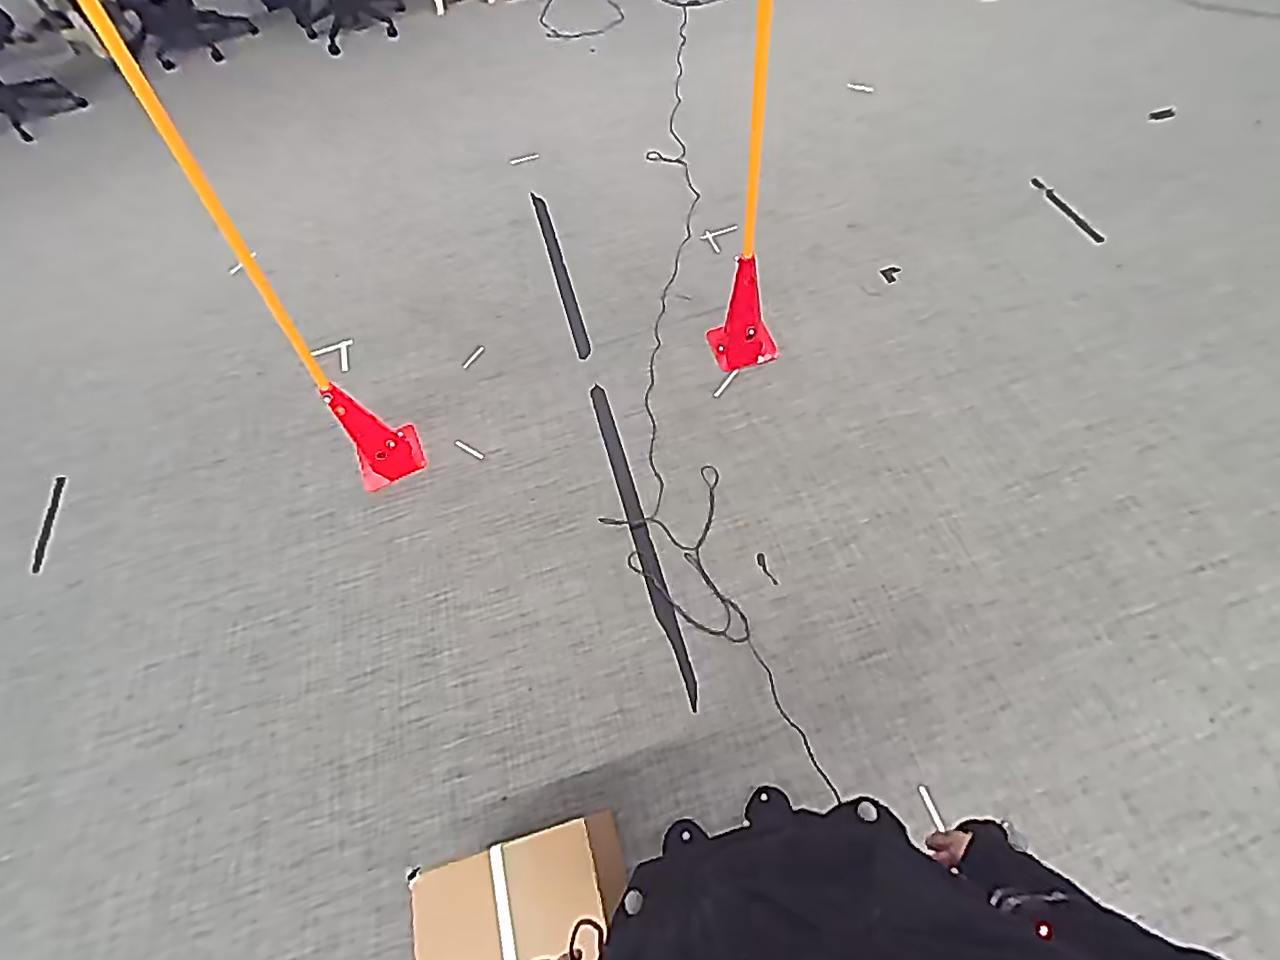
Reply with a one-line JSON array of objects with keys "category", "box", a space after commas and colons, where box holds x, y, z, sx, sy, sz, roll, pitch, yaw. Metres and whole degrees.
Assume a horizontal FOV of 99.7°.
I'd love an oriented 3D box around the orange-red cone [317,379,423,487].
[{"category": "orange-red cone", "box": [-0.823, -0.167, 1.589, 0.199, 0.360, 0.198, -25, 60, -6]}]
